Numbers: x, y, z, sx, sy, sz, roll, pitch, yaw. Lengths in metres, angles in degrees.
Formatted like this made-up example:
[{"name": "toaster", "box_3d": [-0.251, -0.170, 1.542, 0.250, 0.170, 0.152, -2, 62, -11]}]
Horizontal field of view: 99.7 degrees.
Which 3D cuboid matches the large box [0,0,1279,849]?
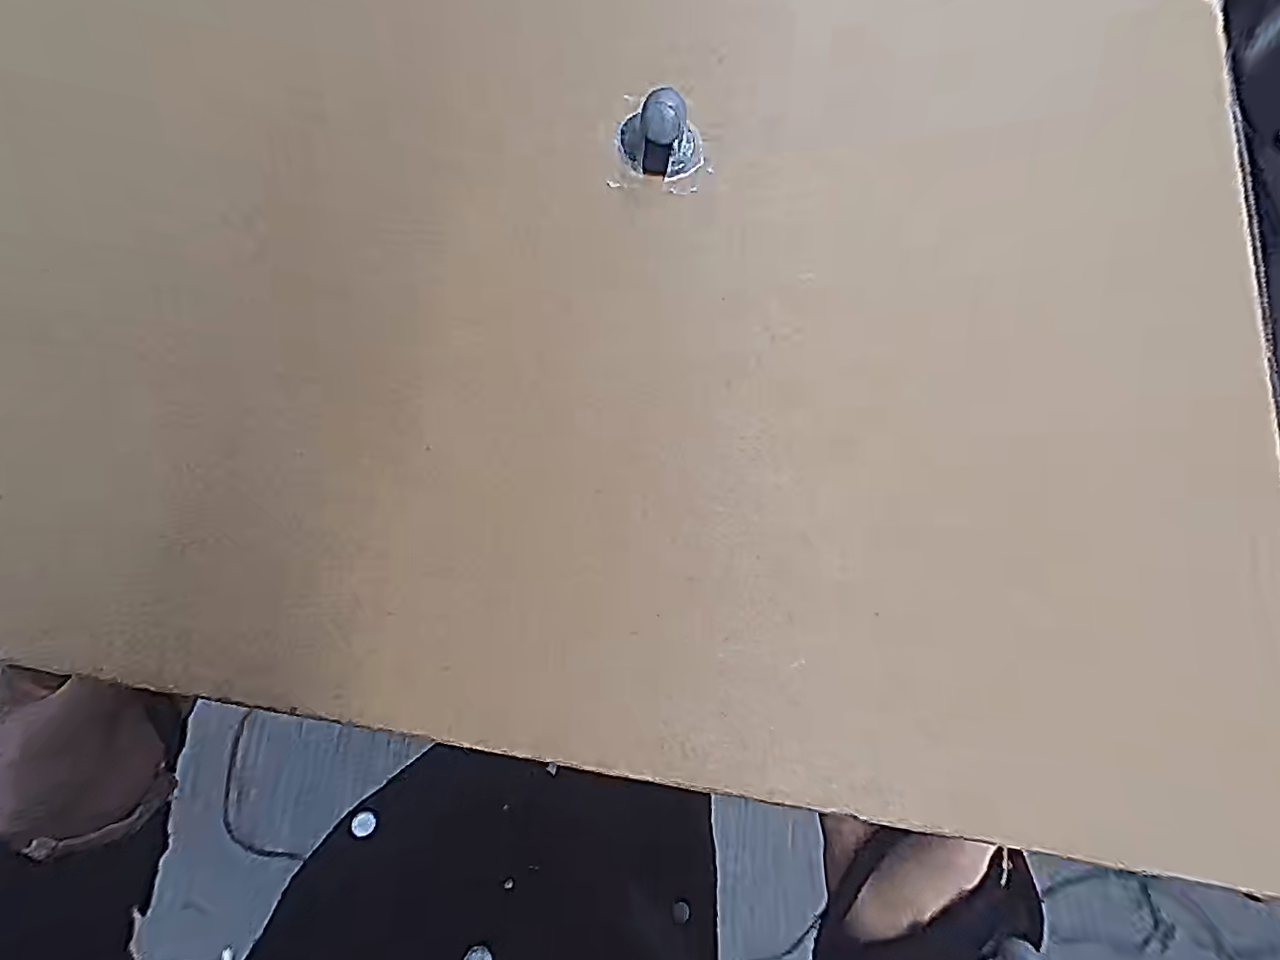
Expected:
[{"name": "large box", "box_3d": [-0.036, -0.054, 0.298, 0.408, 0.320, 0.320, 10, 76, -3]}]
